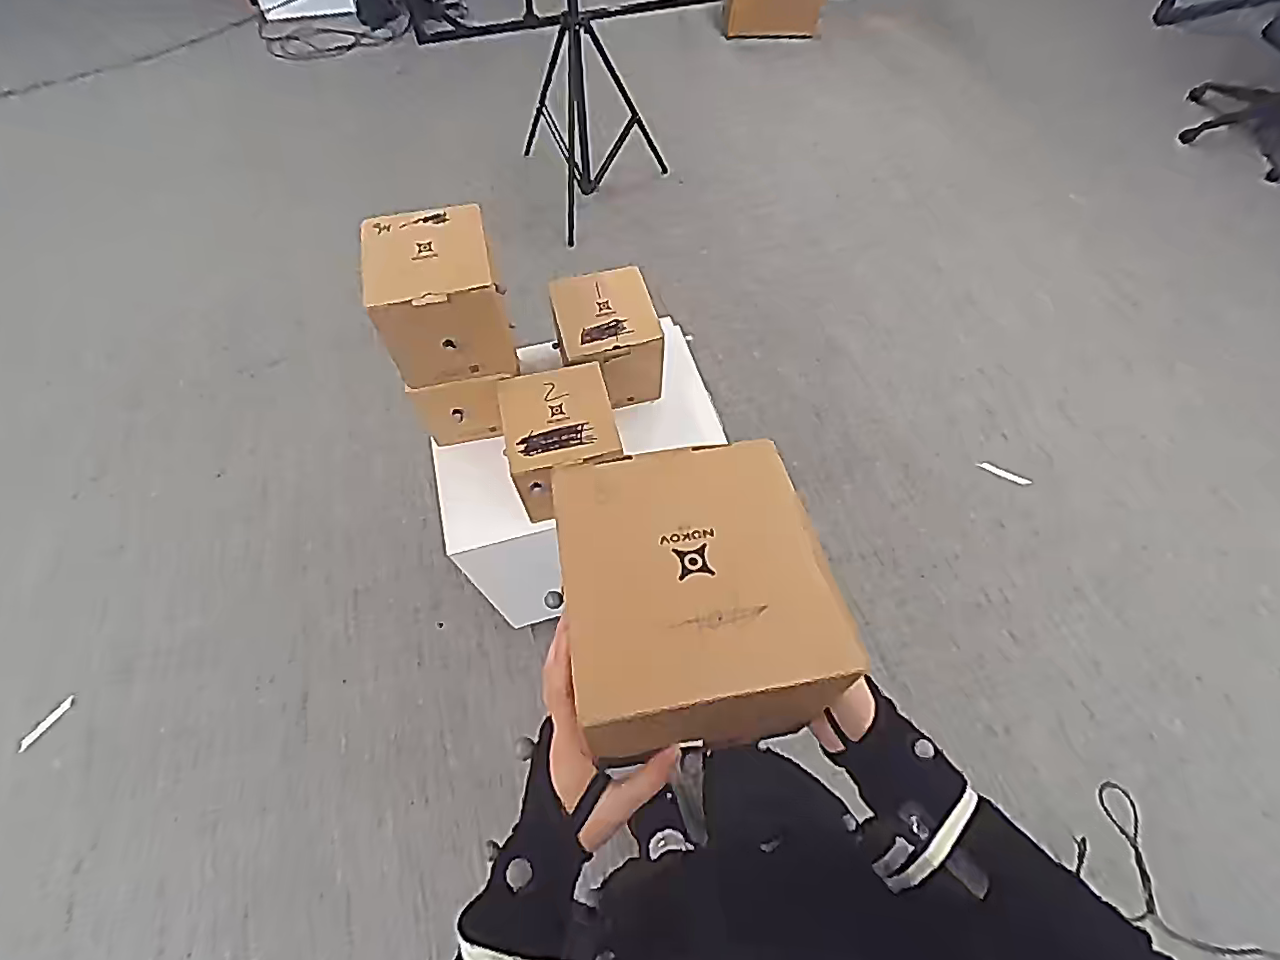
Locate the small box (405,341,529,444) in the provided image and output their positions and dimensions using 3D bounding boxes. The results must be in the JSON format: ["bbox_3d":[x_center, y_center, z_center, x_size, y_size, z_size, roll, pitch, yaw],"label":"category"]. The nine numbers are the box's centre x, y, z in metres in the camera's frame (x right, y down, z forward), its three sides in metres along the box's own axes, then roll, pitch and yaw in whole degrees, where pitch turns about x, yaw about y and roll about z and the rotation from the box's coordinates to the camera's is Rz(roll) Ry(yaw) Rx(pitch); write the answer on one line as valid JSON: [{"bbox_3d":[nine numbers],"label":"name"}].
[{"bbox_3d":[-0.296,-0.178,0.942,0.168,0.176,0.179,-11,63,-7],"label":"small box"}]

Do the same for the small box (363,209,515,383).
[{"bbox_3d":[-0.289,-0.262,0.800,0.168,0.176,0.179,-12,64,-7],"label":"small box"}]

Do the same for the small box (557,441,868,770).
[{"bbox_3d":[0.033,0.097,0.408,0.168,0.176,0.179,-9,55,-6],"label":"small box"}]
